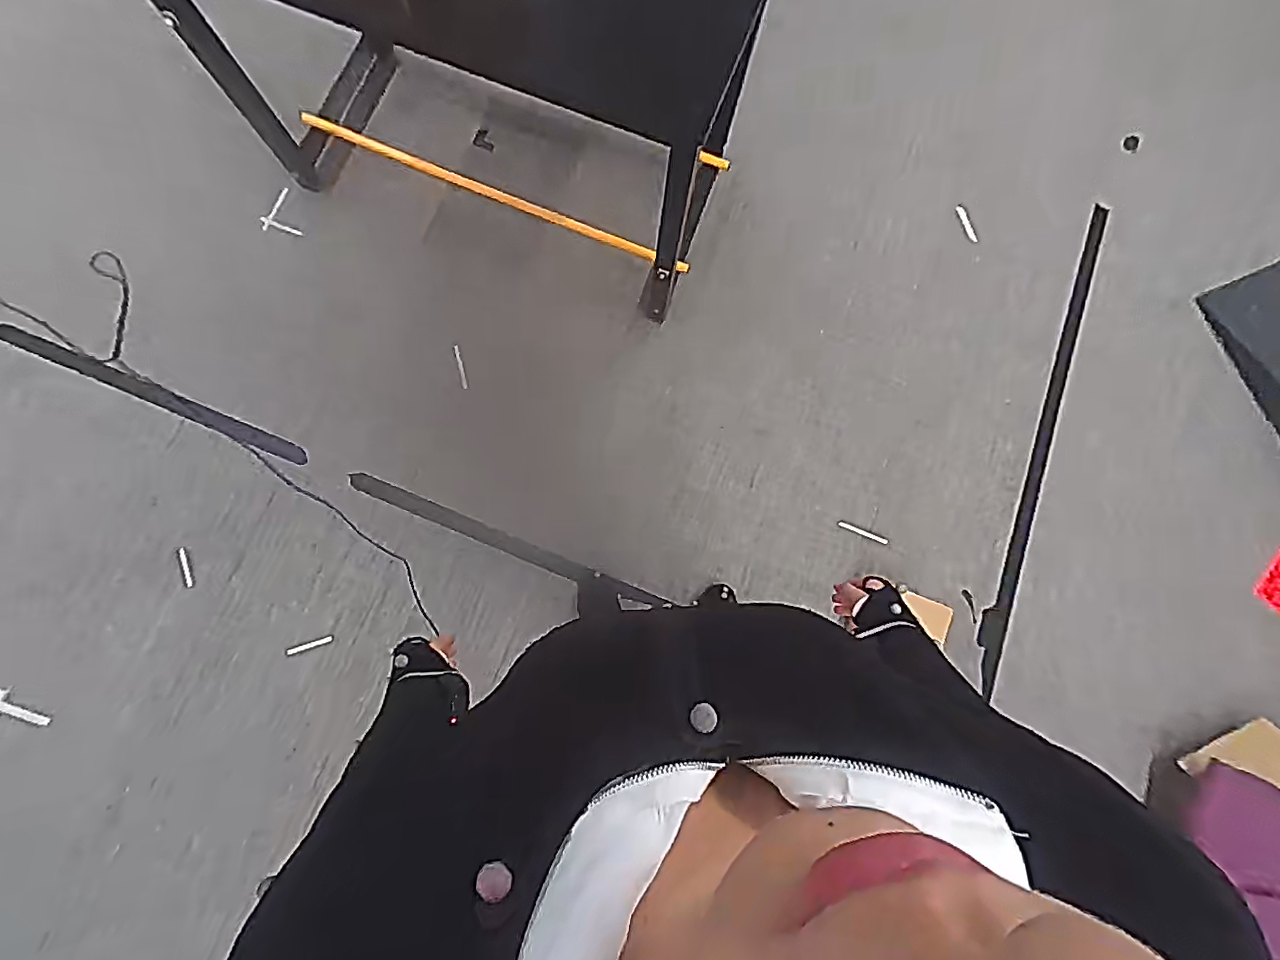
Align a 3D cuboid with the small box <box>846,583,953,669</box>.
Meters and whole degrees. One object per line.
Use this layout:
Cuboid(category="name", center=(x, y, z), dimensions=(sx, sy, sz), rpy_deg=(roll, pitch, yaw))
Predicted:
Cuboid(category="small box", center=(0.686, 0.381, 1.445), dimensions=(0.179, 0.176, 0.168), rpy_deg=(22, 79, 1))
